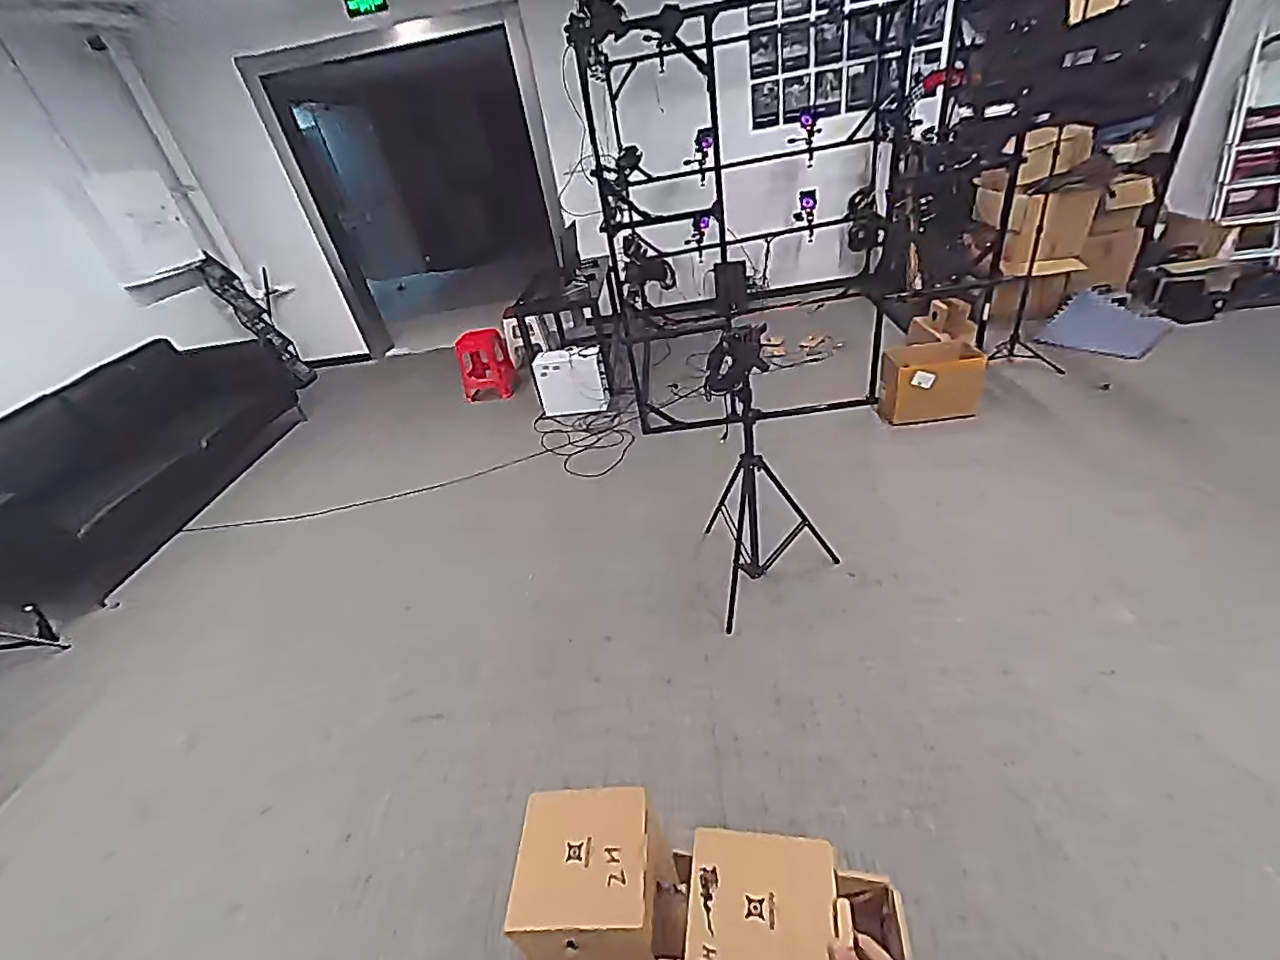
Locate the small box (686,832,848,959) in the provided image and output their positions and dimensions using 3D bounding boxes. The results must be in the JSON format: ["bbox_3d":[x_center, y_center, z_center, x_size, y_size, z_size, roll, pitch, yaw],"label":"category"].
[{"bbox_3d":[0.156,0.571,0.667,0.179,0.176,0.168,-2,33,13],"label":"small box"}]
